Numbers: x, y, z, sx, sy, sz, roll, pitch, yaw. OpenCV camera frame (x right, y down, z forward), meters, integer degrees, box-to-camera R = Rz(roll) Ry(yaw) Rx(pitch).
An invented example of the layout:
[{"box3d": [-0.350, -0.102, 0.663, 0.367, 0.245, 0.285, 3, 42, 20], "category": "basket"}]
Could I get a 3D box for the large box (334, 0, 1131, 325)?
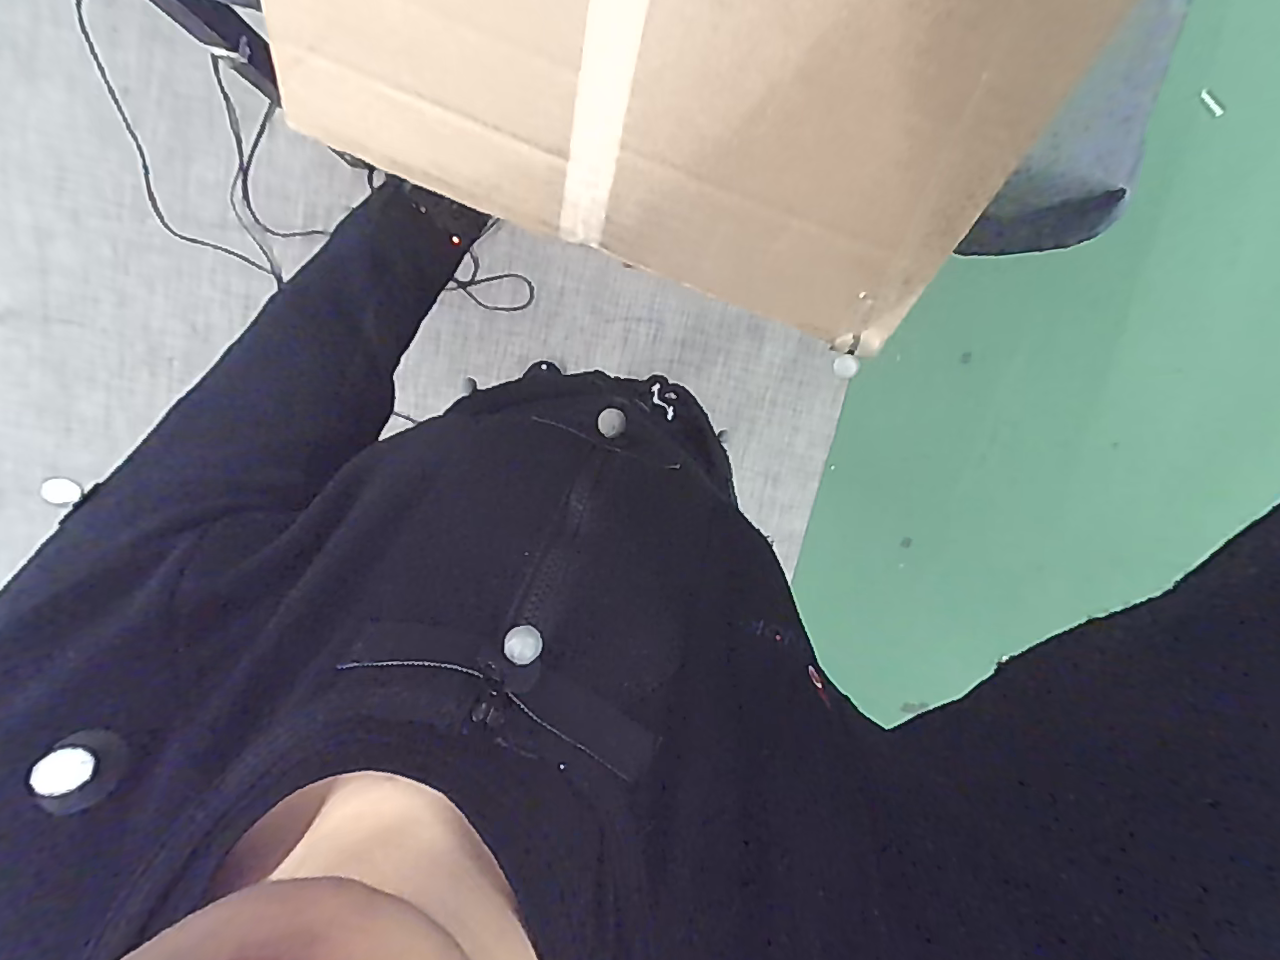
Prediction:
[{"box3d": [0.074, -0.359, 0.233, 0.320, 0.320, 0.408, 21, 139, 0], "category": "large box"}]
